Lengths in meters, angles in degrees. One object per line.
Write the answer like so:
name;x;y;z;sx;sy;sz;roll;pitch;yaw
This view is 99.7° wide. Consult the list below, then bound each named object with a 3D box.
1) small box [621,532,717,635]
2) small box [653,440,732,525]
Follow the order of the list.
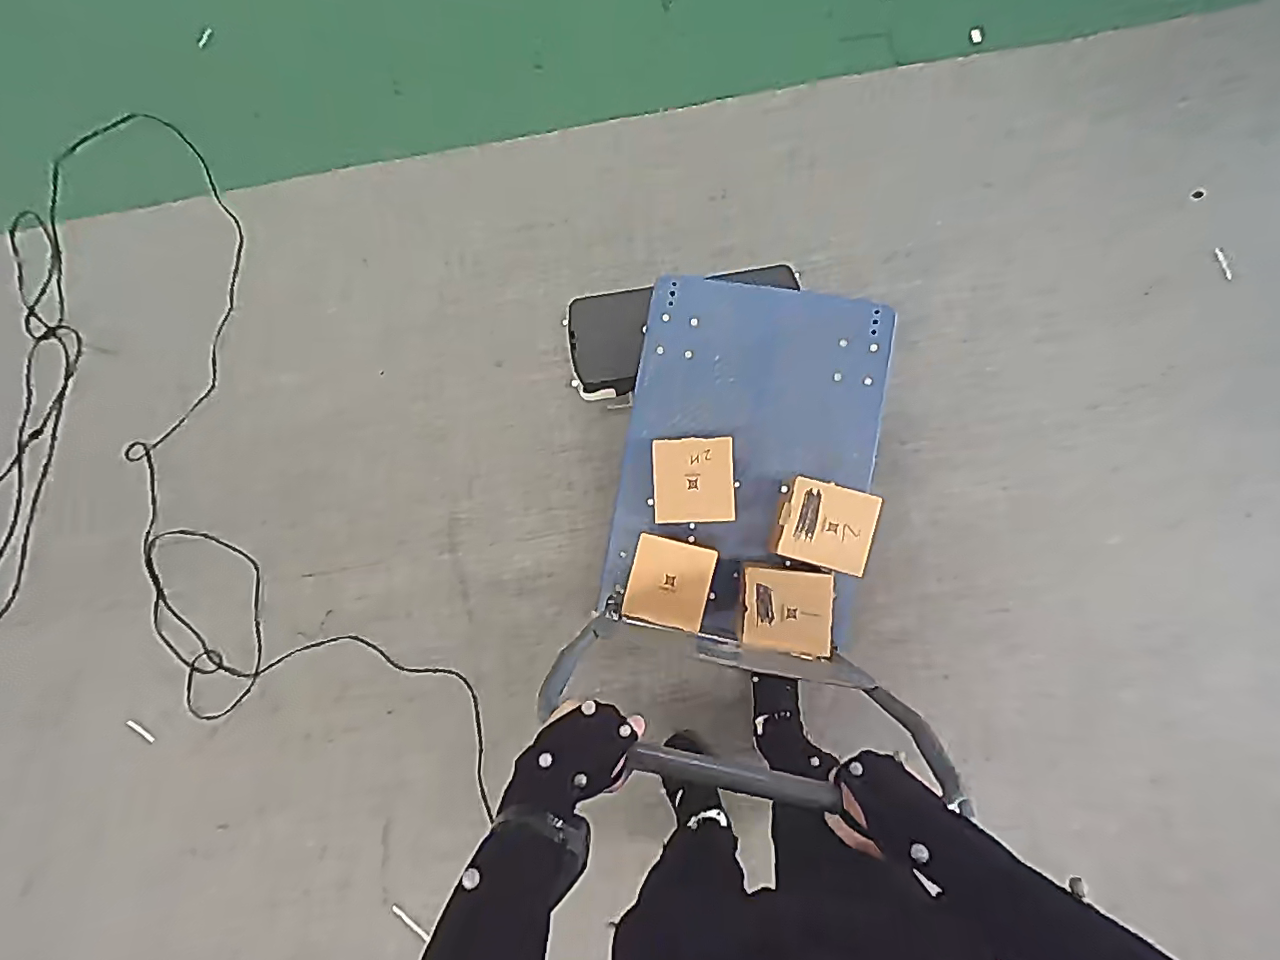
small box;0.065;0.217;1.186;0.168;0.176;0.179;14;88;6
small box;0.116;0.008;1.191;0.168;0.176;0.179;-1;87;4
